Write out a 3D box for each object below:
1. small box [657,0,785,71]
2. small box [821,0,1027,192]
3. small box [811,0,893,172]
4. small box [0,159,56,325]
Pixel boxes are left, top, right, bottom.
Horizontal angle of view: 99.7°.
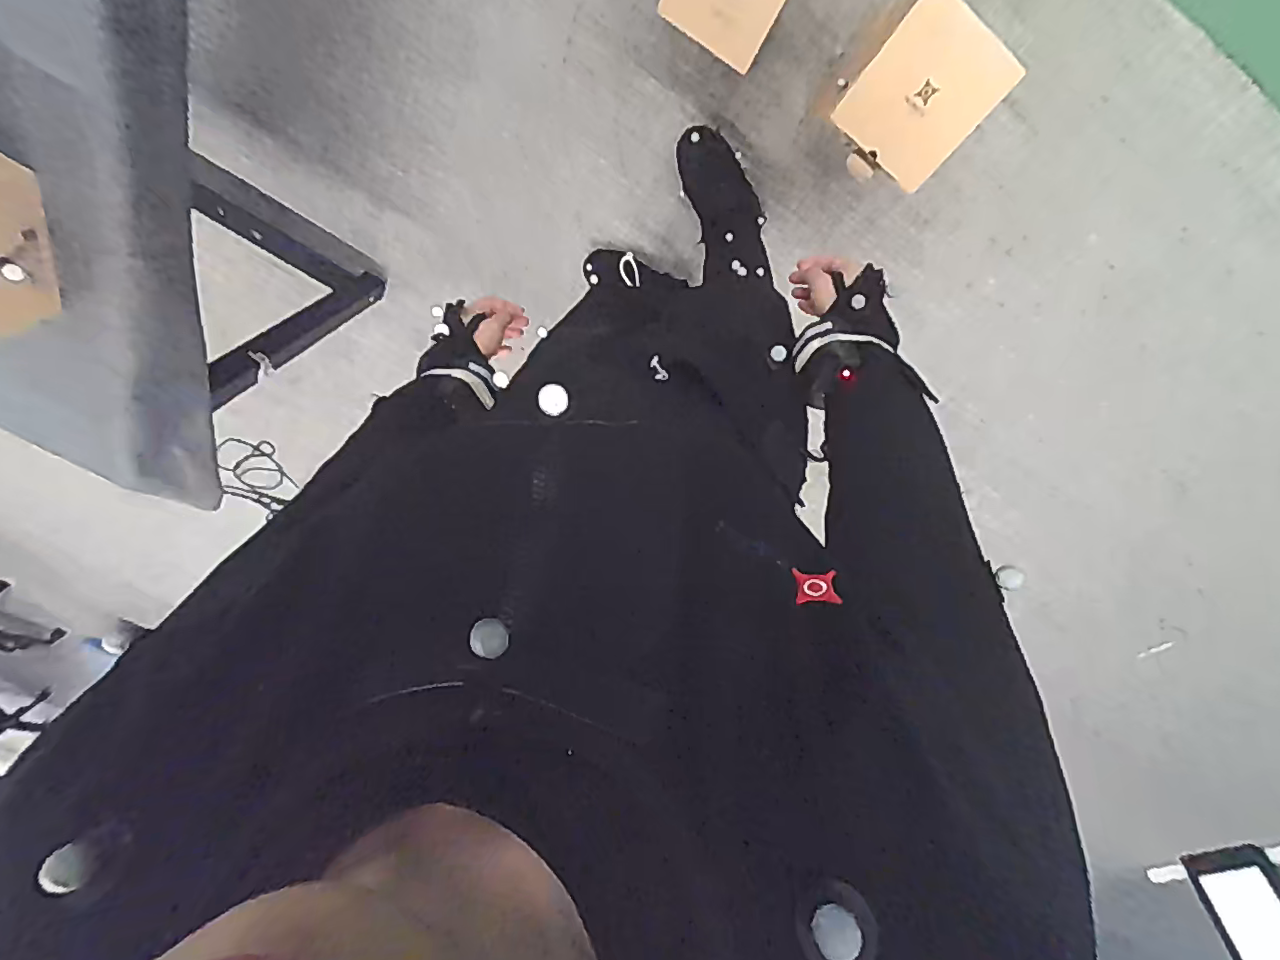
[{"bbox_3d":[0.146,-0.774,0.832,0.168,0.176,0.179,28,129,-10],"label":"small box"},{"bbox_3d":[0.376,-0.548,0.754,0.168,0.176,0.179,32,127,-15],"label":"small box"},{"bbox_3d":[0.398,-0.649,0.881,0.168,0.176,0.179,31,129,-14],"label":"small box"},{"bbox_3d":[-0.709,-0.234,0.488,0.179,0.176,0.168,28,128,-12],"label":"small box"}]
